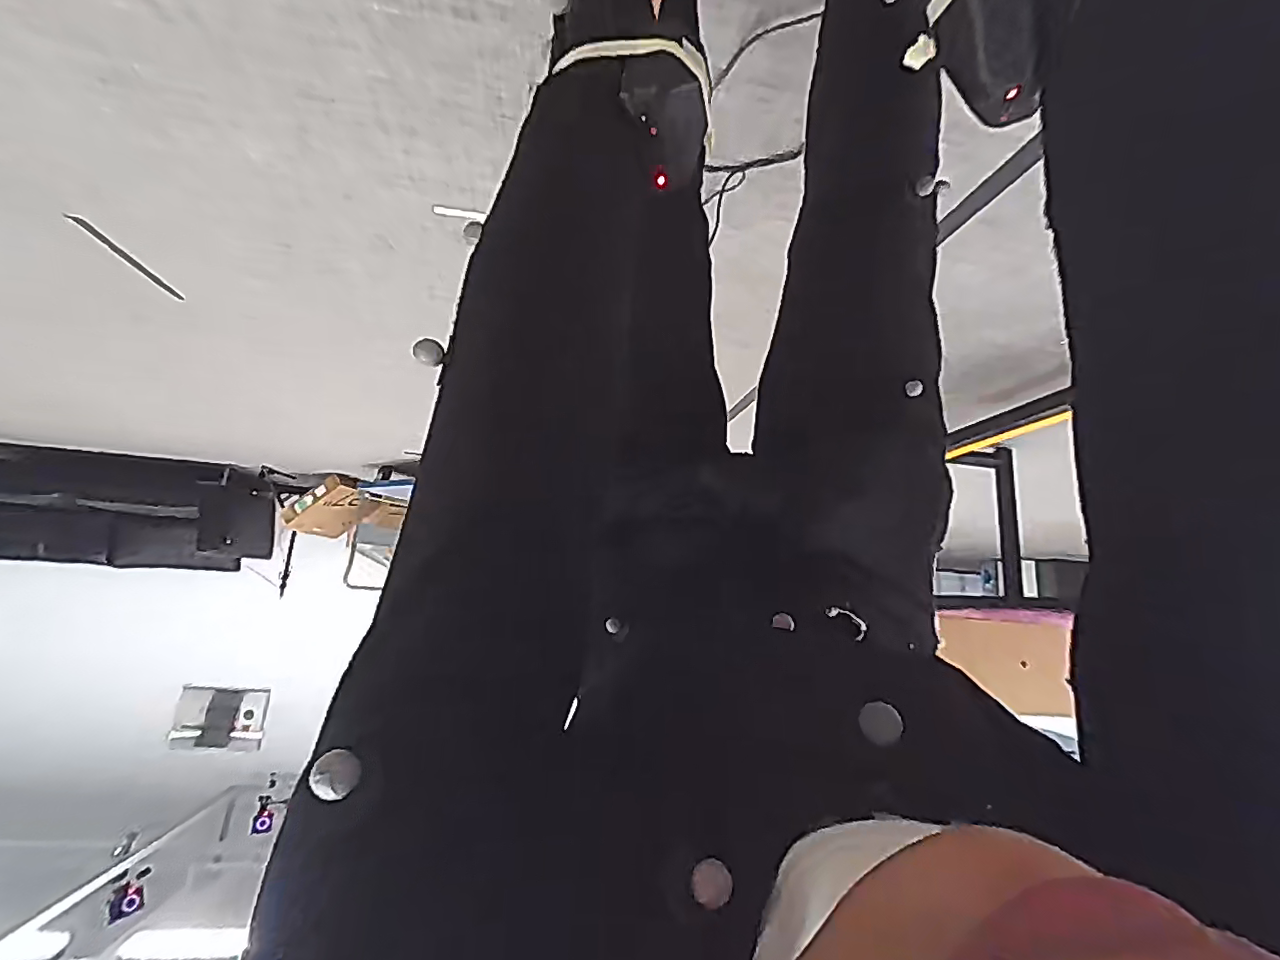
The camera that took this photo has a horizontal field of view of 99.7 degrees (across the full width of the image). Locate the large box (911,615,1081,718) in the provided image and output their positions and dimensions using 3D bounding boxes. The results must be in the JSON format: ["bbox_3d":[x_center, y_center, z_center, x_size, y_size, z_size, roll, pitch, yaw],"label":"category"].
[{"bbox_3d":[1.257,0.659,1.946,0.408,0.320,0.320,5,168,-8],"label":"large box"}]
